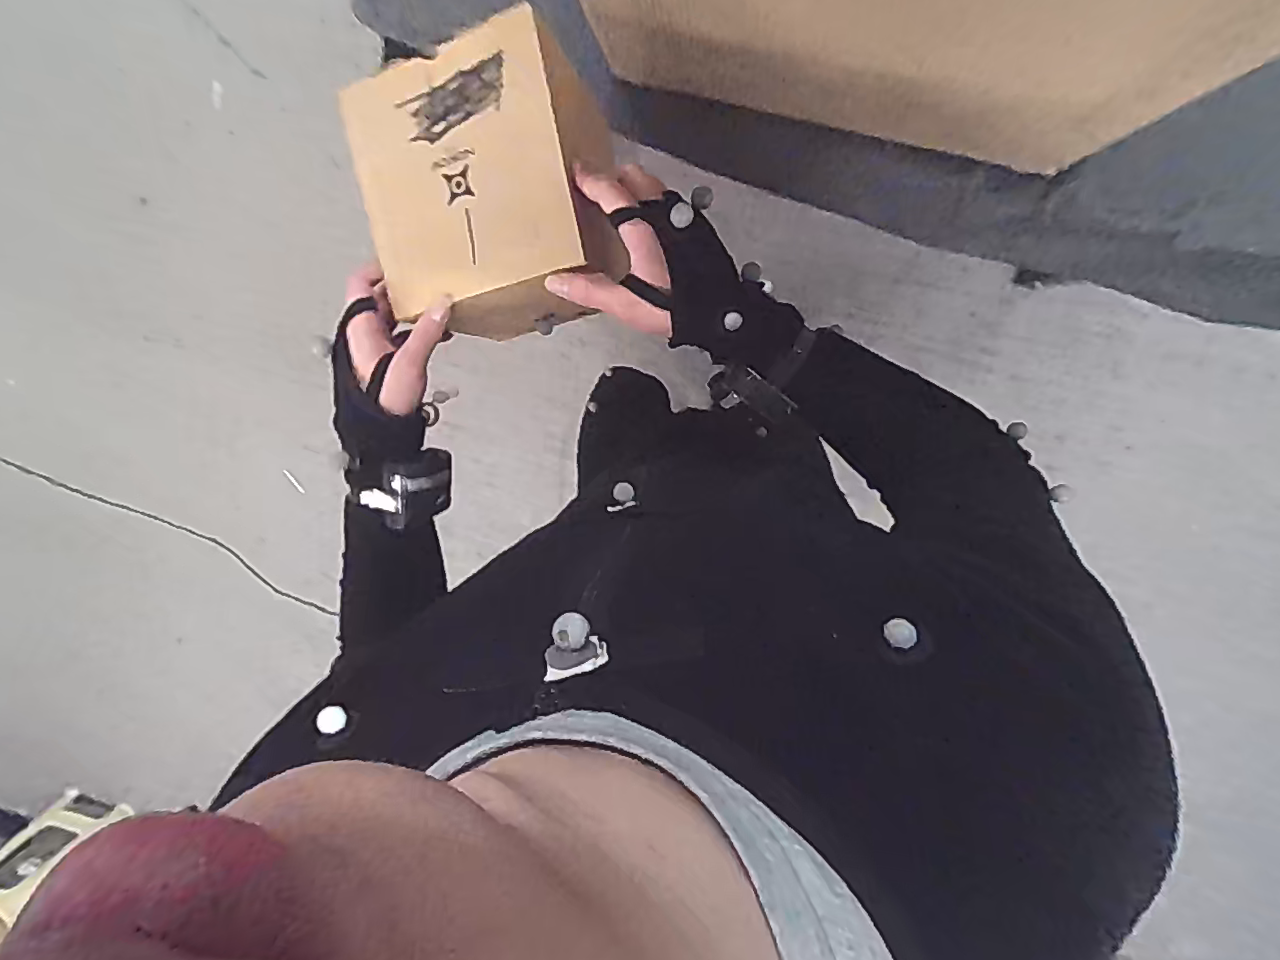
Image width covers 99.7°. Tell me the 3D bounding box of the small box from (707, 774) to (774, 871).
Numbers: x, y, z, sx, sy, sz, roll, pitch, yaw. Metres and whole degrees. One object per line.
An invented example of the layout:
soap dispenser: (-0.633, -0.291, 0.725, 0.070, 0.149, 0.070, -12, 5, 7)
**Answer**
small box: (0.318, 1.086, 1.728, 0.168, 0.176, 0.179, 16, 107, 5)
